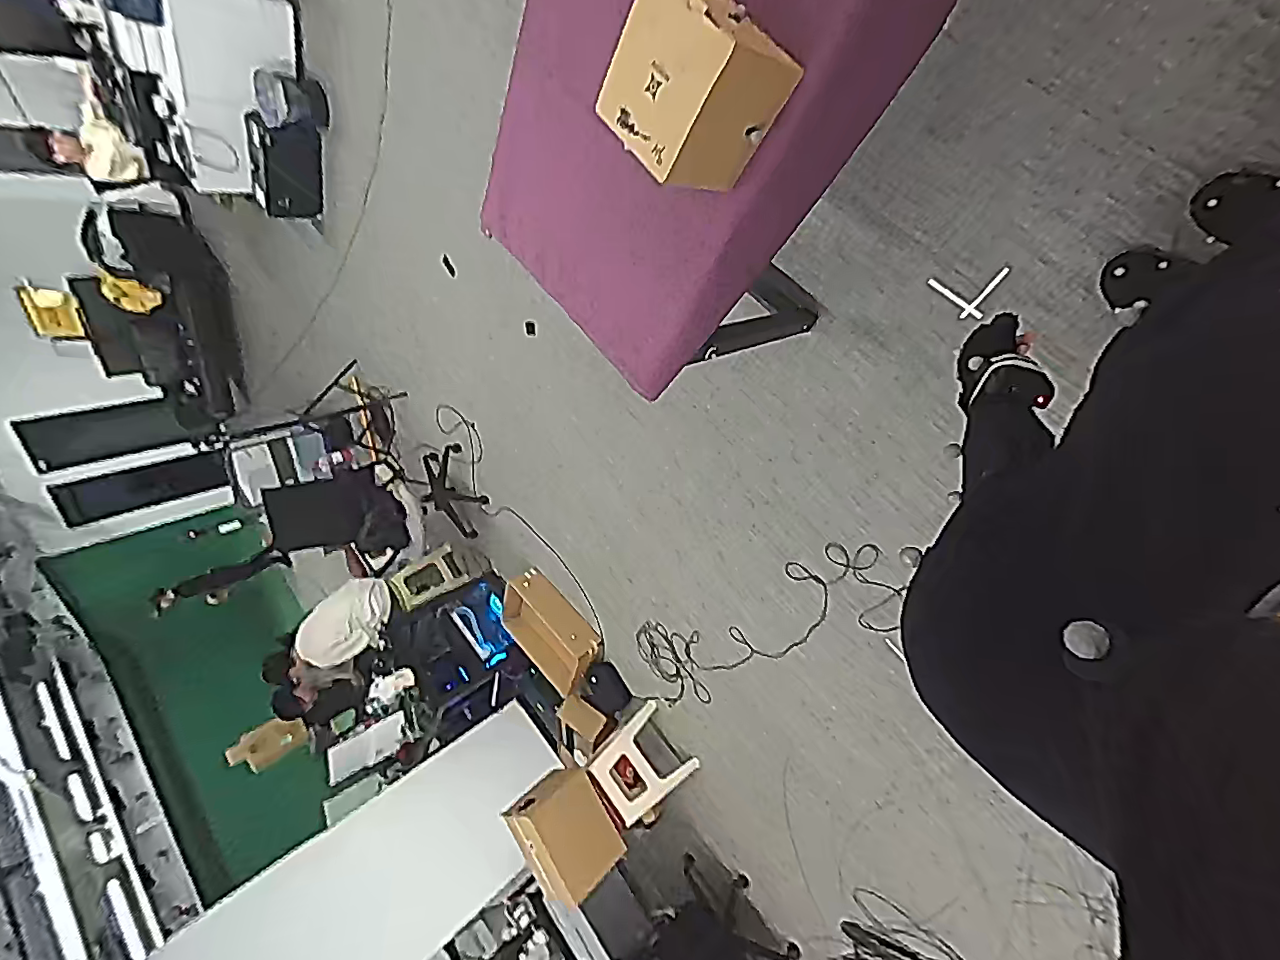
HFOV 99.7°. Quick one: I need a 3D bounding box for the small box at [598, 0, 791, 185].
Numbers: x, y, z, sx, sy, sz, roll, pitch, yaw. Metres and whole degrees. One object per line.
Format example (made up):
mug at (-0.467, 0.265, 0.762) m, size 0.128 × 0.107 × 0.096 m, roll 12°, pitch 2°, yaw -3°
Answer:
small box at (0.079, -0.536, 0.738) m, size 0.168 × 0.176 × 0.179 m, roll 54°, pitch 136°, yaw 14°
